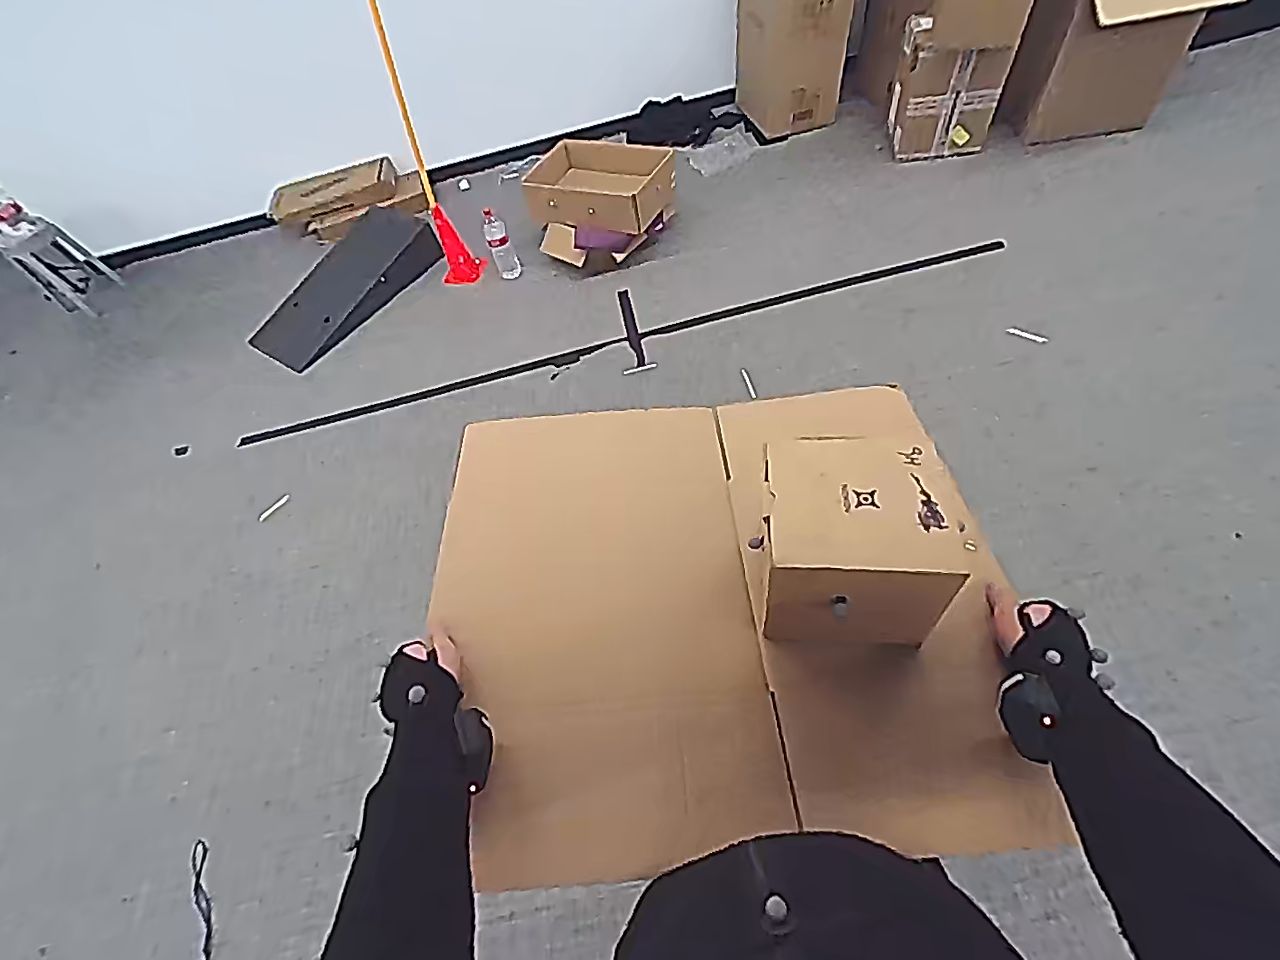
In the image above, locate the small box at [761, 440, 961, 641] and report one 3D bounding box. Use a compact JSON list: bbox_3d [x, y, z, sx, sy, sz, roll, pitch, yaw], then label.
[{"bbox_3d":[0.229,0.072,0.613,0.179,0.176,0.168,-1,52,11],"label":"small box"}]
